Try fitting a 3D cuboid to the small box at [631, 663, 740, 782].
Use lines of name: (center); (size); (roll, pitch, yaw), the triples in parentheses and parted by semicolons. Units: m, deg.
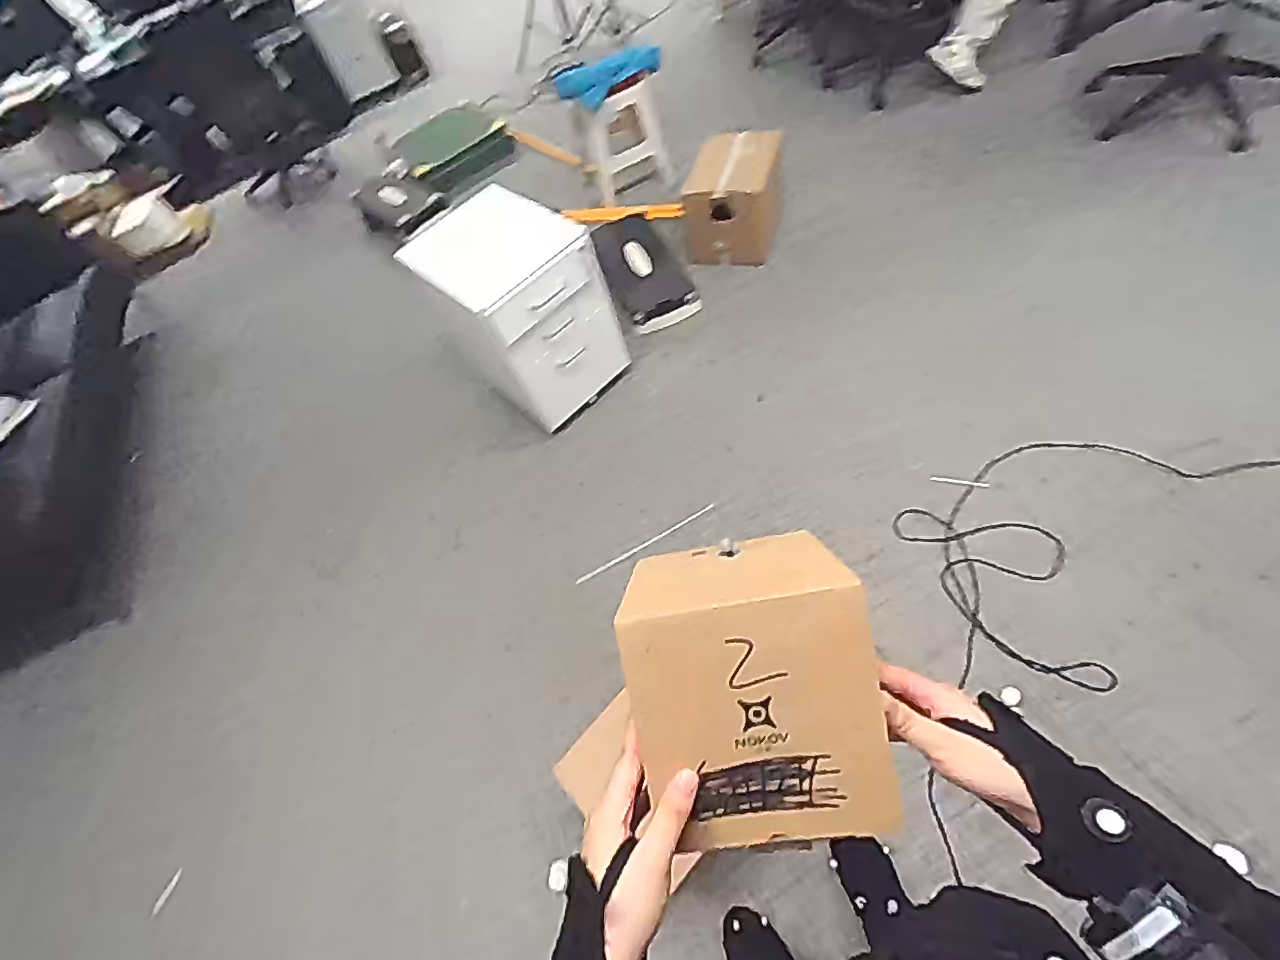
small box: (0.087, 0.451, 0.998); (0.168, 0.176, 0.179); (-11, 58, 8)
